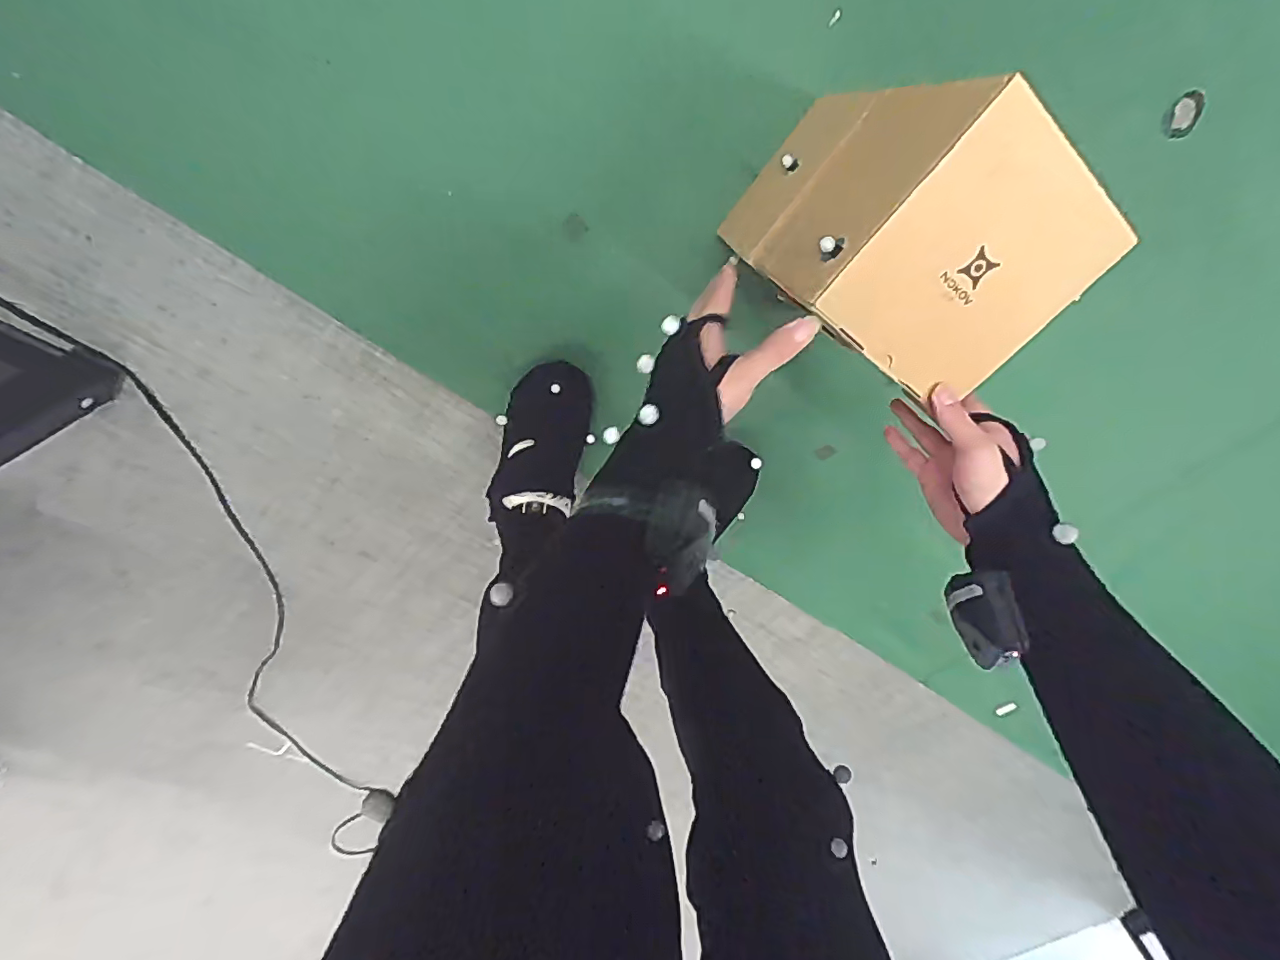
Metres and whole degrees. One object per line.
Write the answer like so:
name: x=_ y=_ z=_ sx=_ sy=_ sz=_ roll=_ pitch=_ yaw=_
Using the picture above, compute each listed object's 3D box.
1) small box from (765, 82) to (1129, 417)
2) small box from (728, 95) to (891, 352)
small box: x=0.235 y=-0.193 z=0.460 sx=0.168 sy=0.176 sz=0.179 roll=30 pitch=117 yaw=-23
small box: x=0.216 y=-0.280 z=0.597 sx=0.168 sy=0.176 sz=0.179 roll=31 pitch=115 yaw=-23
